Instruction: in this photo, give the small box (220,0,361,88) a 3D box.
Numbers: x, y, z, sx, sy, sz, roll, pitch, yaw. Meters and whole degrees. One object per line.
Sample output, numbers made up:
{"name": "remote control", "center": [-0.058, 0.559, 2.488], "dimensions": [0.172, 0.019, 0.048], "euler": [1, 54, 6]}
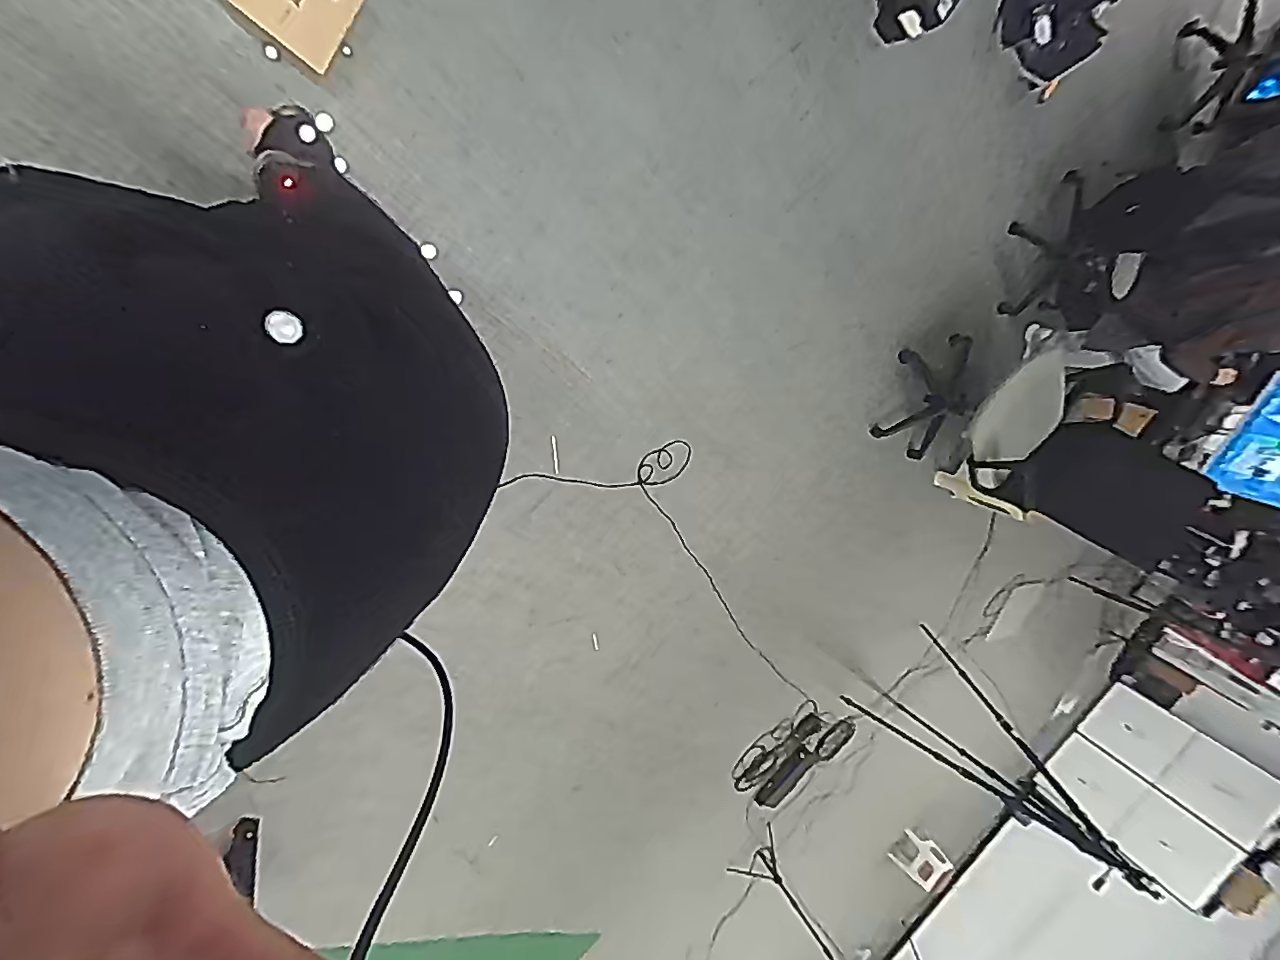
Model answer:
{"name": "small box", "center": [-0.654, -0.887, 1.017], "dimensions": [0.168, 0.176, 0.179], "euler": [28, 98, -38]}
